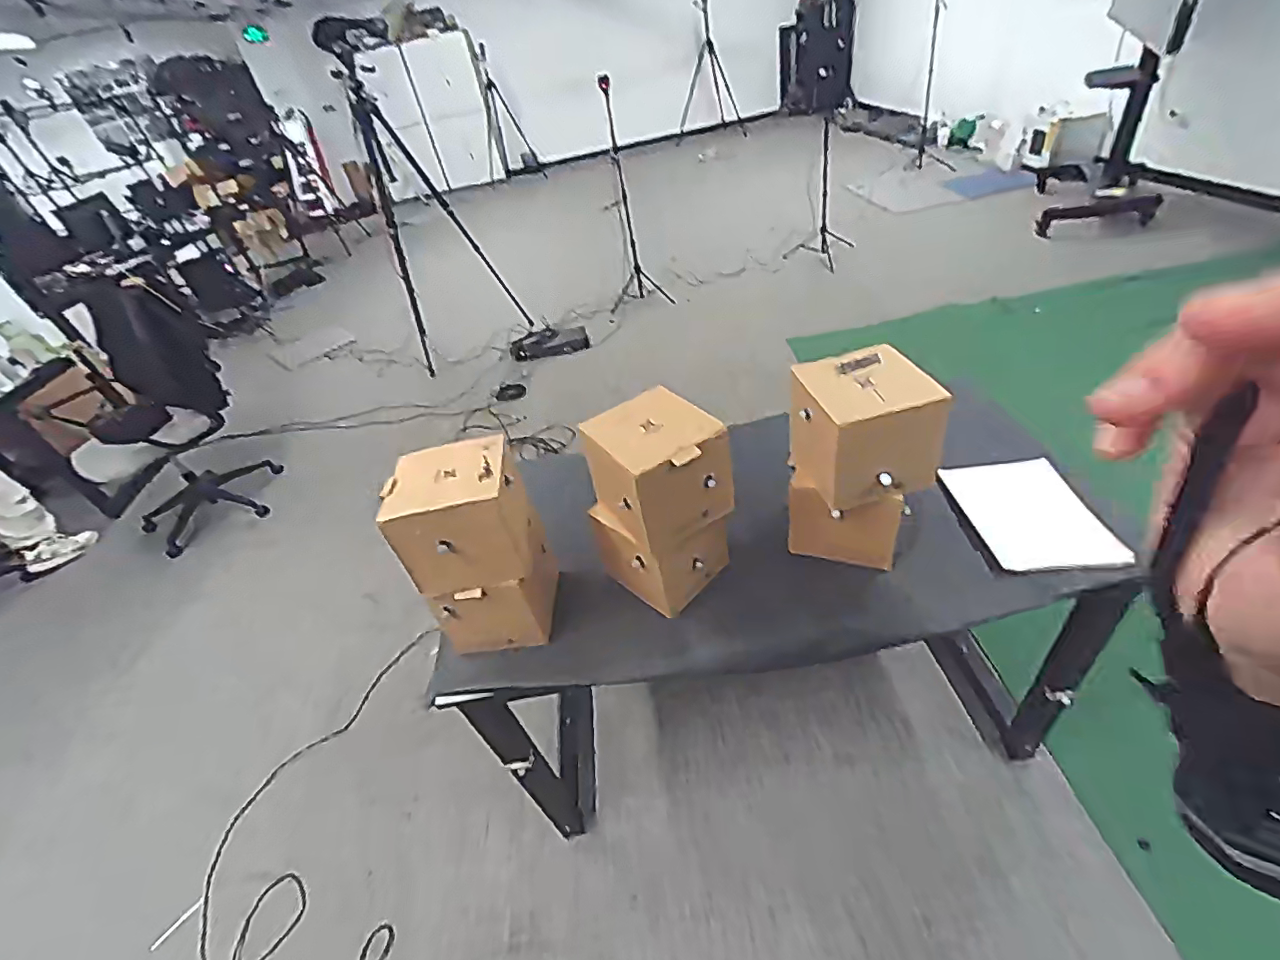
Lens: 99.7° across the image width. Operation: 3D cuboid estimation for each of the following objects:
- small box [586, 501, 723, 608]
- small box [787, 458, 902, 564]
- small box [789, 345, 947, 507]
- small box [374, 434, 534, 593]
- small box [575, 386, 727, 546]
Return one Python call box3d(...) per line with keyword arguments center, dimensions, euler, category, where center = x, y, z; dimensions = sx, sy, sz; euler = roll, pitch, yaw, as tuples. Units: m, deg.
box3d(center=(0.033, 0.102, 0.972), dimensions=(0.179, 0.176, 0.168), euler=(27, 53, 38), category="small box")
box3d(center=(0.369, 0.029, 0.968), dimensions=(0.179, 0.176, 0.168), euler=(8, 44, 25), category="small box")
box3d(center=(0.343, -0.086, 0.852), dimensions=(0.168, 0.176, 0.179), euler=(-15, 39, -1), category="small box")
box3d(center=(-0.280, 0.055, 0.855), dimensions=(0.179, 0.176, 0.168), euler=(-13, 38, 0), category="small box")
box3d(center=(0.023, -0.019, 0.863), dimensions=(0.168, 0.176, 0.179), euler=(-29, 41, -20), category="small box")
